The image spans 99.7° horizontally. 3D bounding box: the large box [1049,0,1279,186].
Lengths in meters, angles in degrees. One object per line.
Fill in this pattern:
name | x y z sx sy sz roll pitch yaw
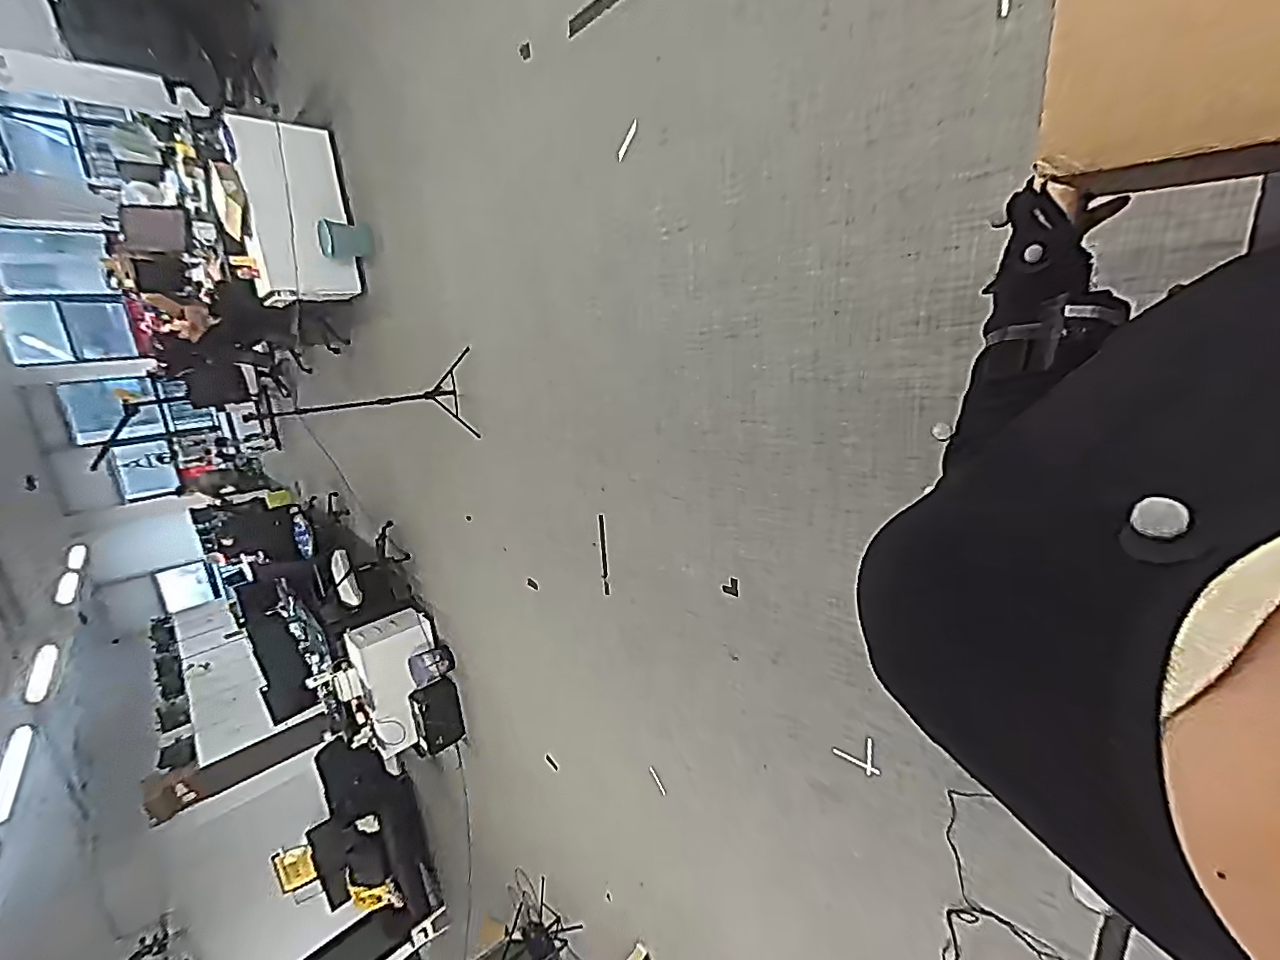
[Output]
large box | 0.419 -0.318 0.185 0.408 0.320 0.320 11 117 40
